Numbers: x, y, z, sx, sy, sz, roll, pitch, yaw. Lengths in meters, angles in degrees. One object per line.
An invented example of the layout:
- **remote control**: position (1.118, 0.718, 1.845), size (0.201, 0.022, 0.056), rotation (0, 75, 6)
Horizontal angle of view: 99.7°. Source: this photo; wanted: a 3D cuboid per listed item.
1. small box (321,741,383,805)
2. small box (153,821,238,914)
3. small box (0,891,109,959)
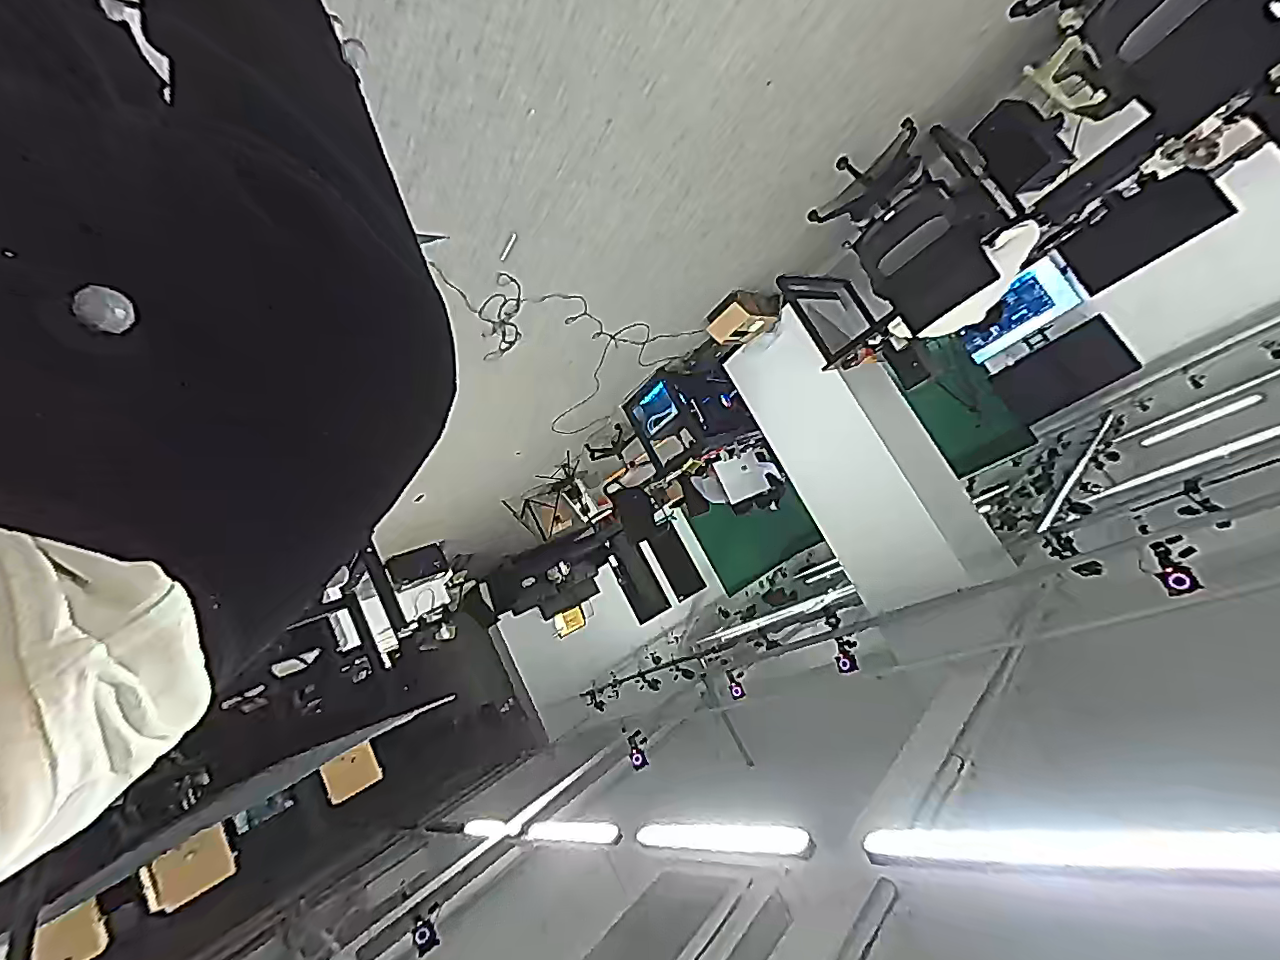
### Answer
- **small box**: position (-1.157, 1.169, 2.162), size (0.168, 0.176, 0.179), rotation (-19, 165, -42)
- **small box**: position (-1.368, 1.182, 1.665), size (0.168, 0.176, 0.179), rotation (-19, 167, -44)
- **small box**: position (-1.574, 1.251, 1.458), size (0.168, 0.176, 0.179), rotation (-19, 167, -45)
